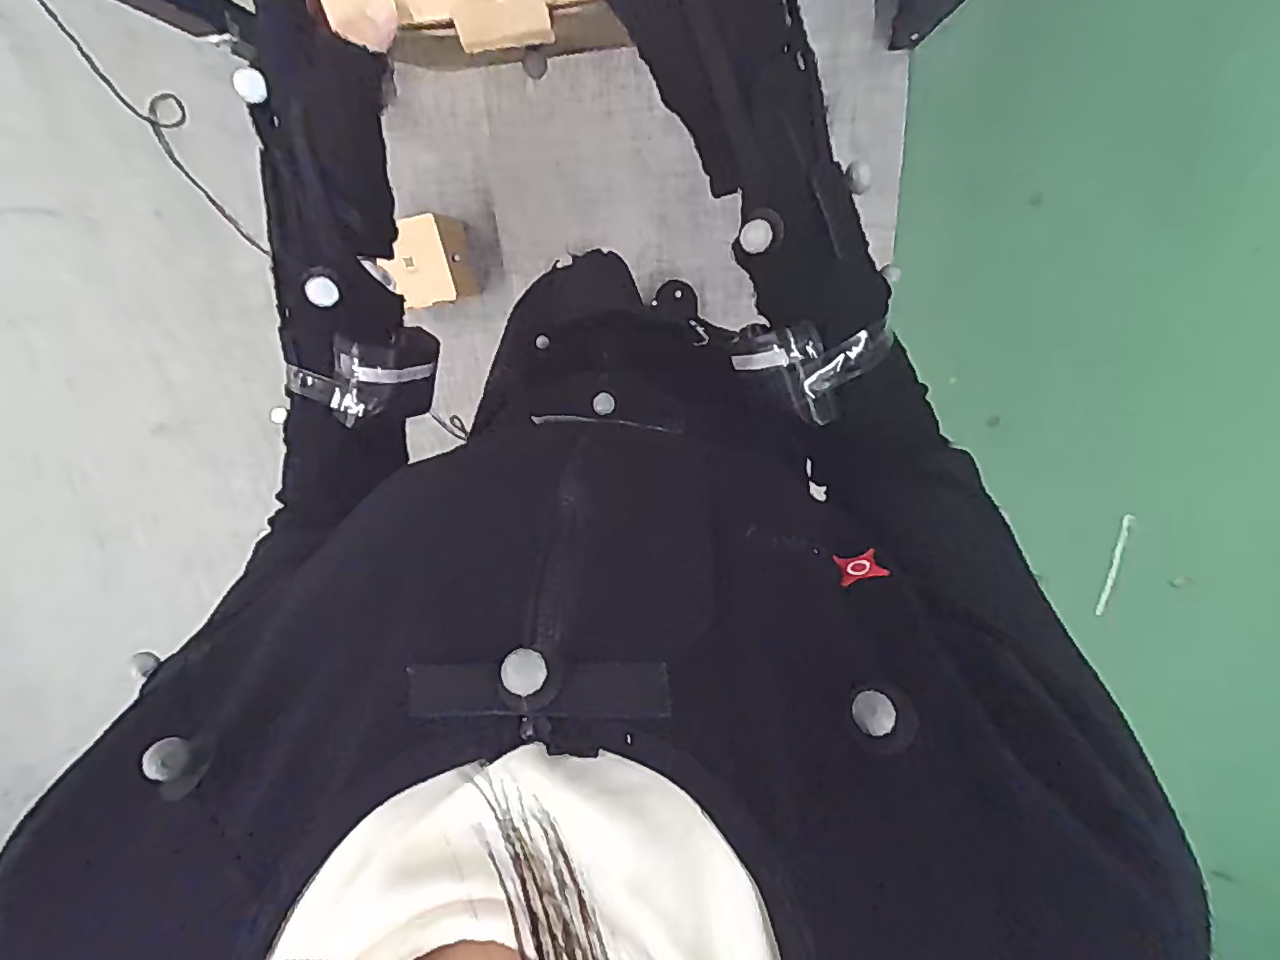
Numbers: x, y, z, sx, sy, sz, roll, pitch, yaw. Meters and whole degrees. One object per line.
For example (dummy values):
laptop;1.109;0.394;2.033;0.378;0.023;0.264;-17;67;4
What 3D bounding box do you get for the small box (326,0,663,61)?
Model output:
small box;-0.077;-0.337;0.274;0.168;0.176;0.179;-8;122;7
